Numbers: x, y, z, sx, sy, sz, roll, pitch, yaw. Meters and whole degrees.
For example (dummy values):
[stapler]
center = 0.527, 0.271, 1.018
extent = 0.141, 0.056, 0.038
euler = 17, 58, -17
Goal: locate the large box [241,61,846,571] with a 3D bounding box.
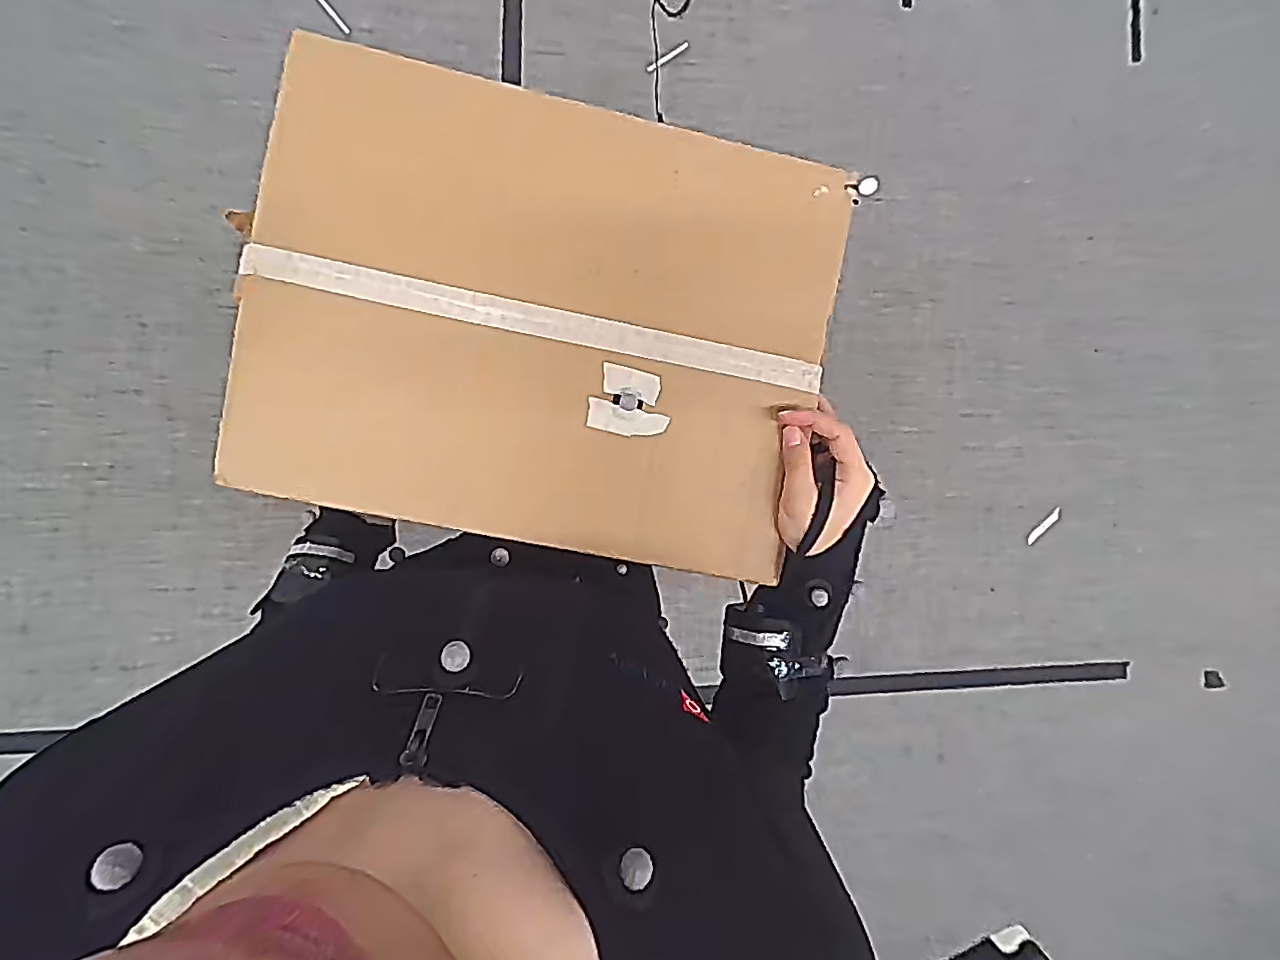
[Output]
[large box]
center = -0.077, -0.114, 0.541
extent = 0.408, 0.320, 0.320
euler = 10, 92, -6
